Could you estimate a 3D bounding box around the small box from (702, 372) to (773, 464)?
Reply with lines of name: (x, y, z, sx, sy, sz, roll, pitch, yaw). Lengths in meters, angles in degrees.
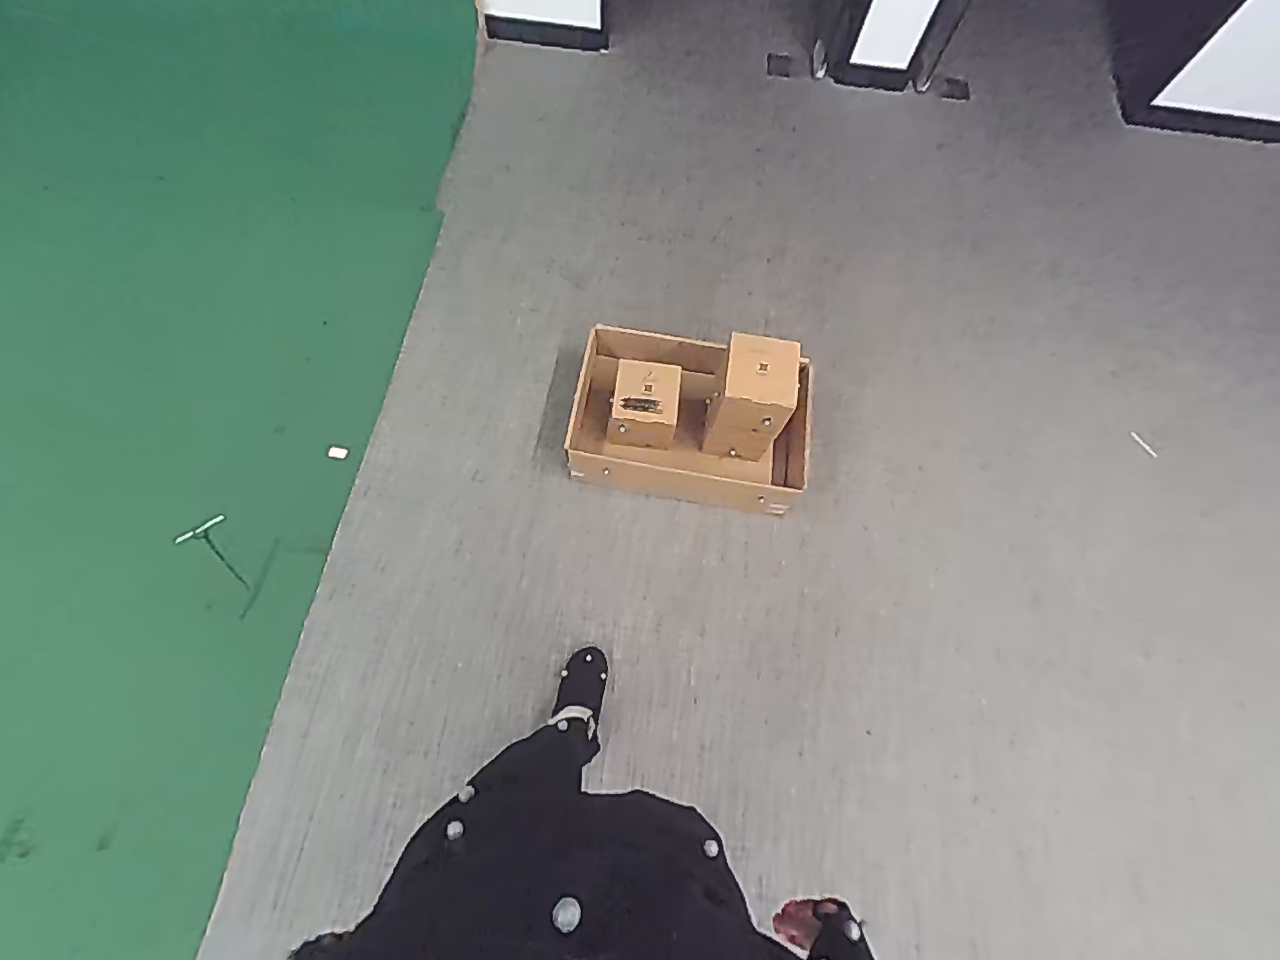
small box: (0.268, -0.165, 1.469, 0.168, 0.176, 0.179, 9, 69, 2)

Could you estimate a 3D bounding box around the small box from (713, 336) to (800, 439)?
small box: (0.278, -0.218, 1.316, 0.168, 0.176, 0.179, 10, 69, 1)
